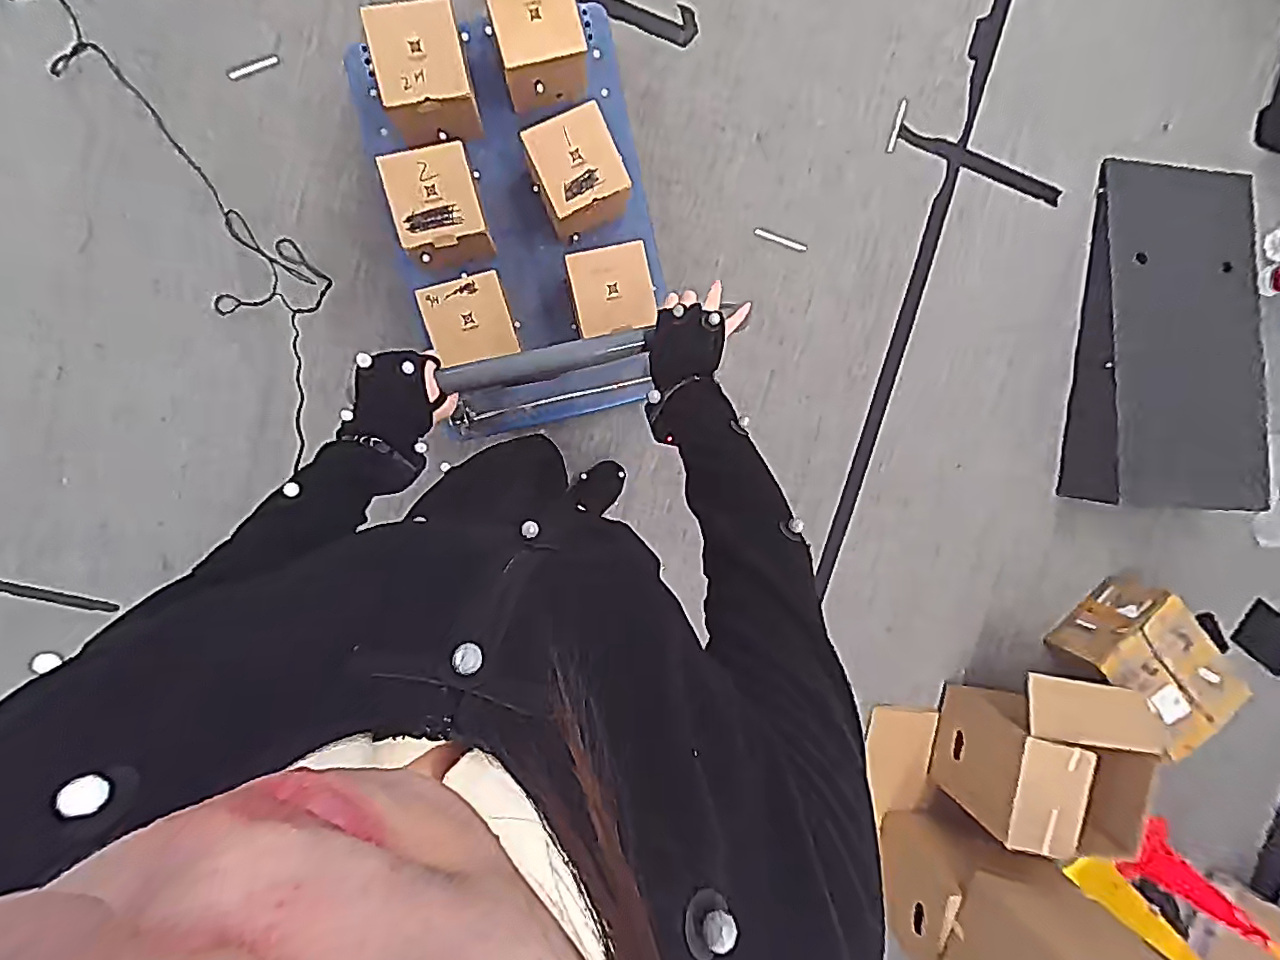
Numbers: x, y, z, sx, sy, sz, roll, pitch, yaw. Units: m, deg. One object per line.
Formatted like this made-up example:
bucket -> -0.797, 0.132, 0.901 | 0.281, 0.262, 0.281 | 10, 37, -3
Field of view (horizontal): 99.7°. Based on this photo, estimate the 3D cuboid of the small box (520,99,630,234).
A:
small box -> -0.134, -0.648, 1.149 | 0.168, 0.176, 0.179 | -26, 99, -3

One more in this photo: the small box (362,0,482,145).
small box -> -0.428, -0.815, 1.090 | 0.168, 0.176, 0.179 | -12, 99, -5

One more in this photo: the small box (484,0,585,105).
small box -> -0.212, -0.907, 1.107 | 0.168, 0.176, 0.179 | -17, 99, -4

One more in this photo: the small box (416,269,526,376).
small box -> -0.351, -0.328, 1.161 | 0.168, 0.176, 0.179 | -17, 99, -6

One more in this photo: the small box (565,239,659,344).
small box -> -0.064, -0.404, 1.190 | 0.168, 0.176, 0.179 | -13, 98, -6
